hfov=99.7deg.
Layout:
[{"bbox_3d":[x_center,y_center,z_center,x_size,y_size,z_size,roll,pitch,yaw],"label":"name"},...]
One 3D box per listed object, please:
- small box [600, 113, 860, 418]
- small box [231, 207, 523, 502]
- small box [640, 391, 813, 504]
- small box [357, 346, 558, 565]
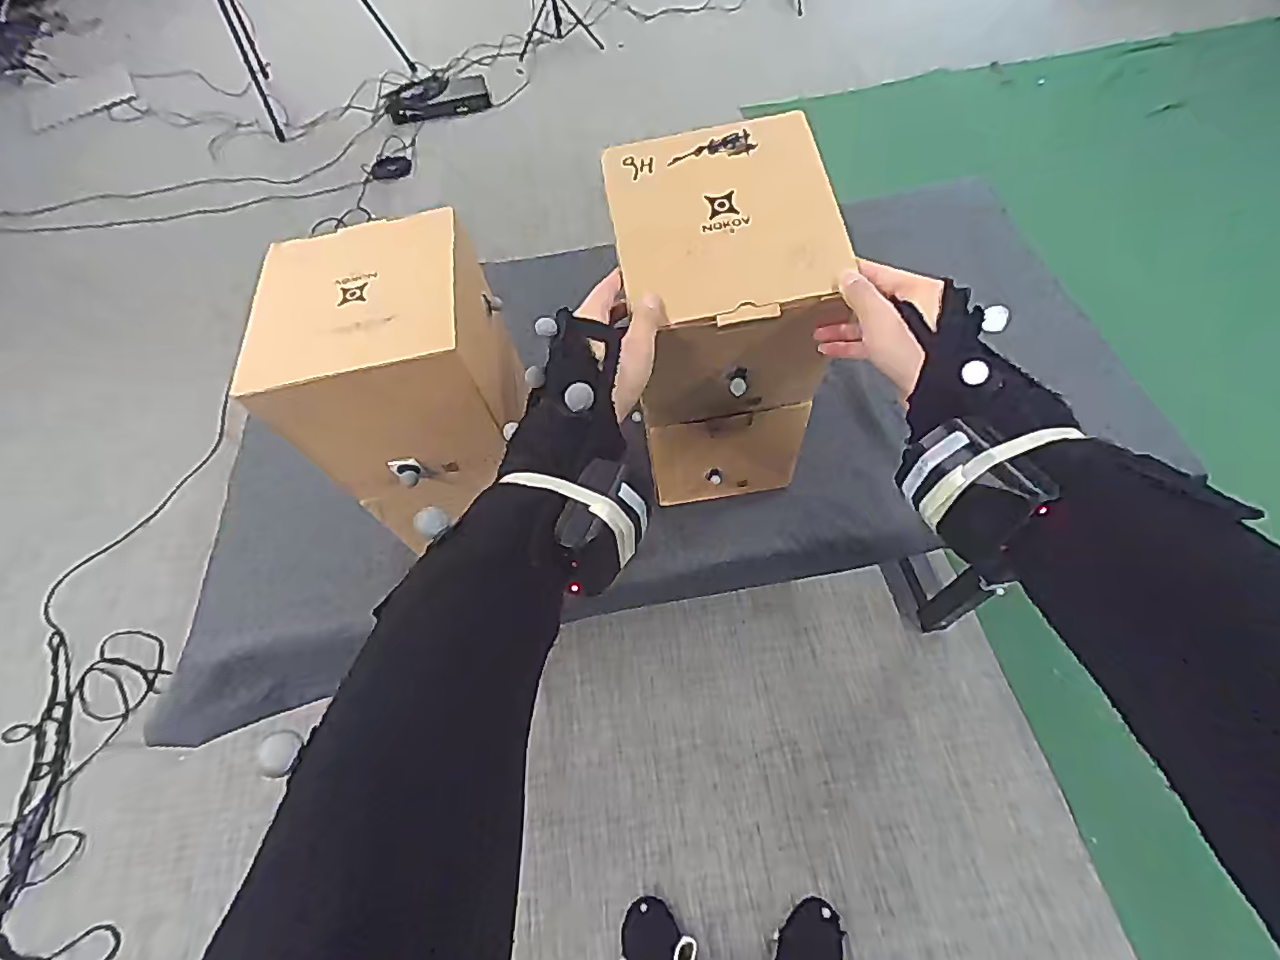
[{"bbox_3d":[0.068,-0.167,0.474,0.168,0.176,0.179,-10,72,2],"label":"small box"},{"bbox_3d":[-0.214,-0.105,0.489,0.168,0.176,0.179,-14,60,0],"label":"small box"},{"bbox_3d":[0.086,-0.094,0.642,0.168,0.176,0.179,-9,59,0],"label":"small box"},{"bbox_3d":[-0.199,-0.023,0.629,0.168,0.176,0.179,-12,60,-1],"label":"small box"}]
